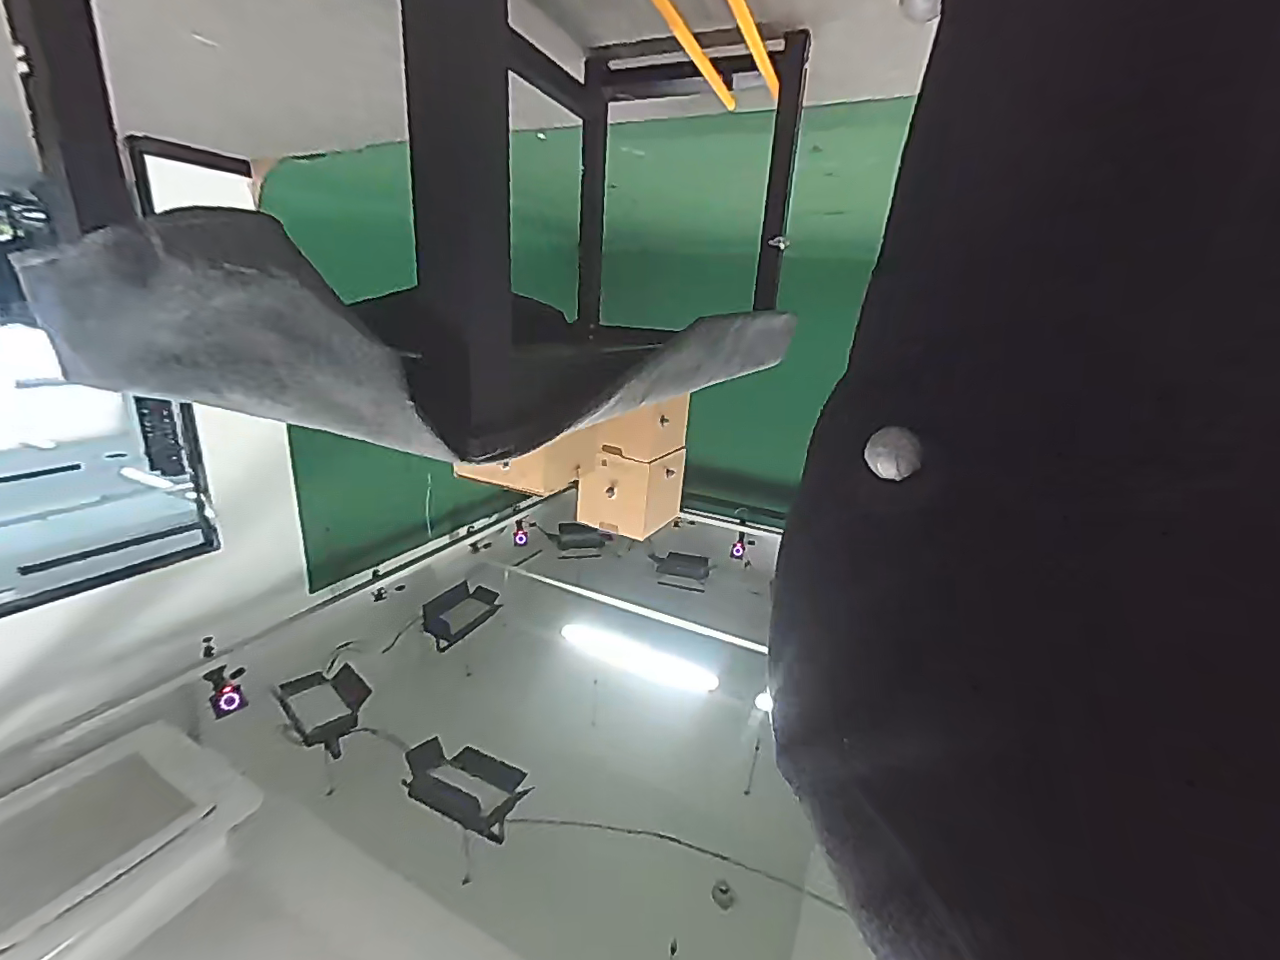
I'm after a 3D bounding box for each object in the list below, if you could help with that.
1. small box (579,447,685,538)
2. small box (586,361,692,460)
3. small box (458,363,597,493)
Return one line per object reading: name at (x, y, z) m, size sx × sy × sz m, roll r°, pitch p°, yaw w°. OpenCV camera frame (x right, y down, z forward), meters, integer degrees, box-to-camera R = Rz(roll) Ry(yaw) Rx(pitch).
small box at (-0.016, 0.004, 1.167) m, size 0.168 × 0.176 × 0.179 m, roll 14°, pitch -161°, yaw 26°
small box at (-0.005, -0.152, 1.113) m, size 0.168 × 0.176 × 0.179 m, roll 15°, pitch -159°, yaw 26°
small box at (-0.183, -0.094, 0.893) m, size 0.179 × 0.176 × 0.168 m, roll 12°, pitch -161°, yaw 21°
